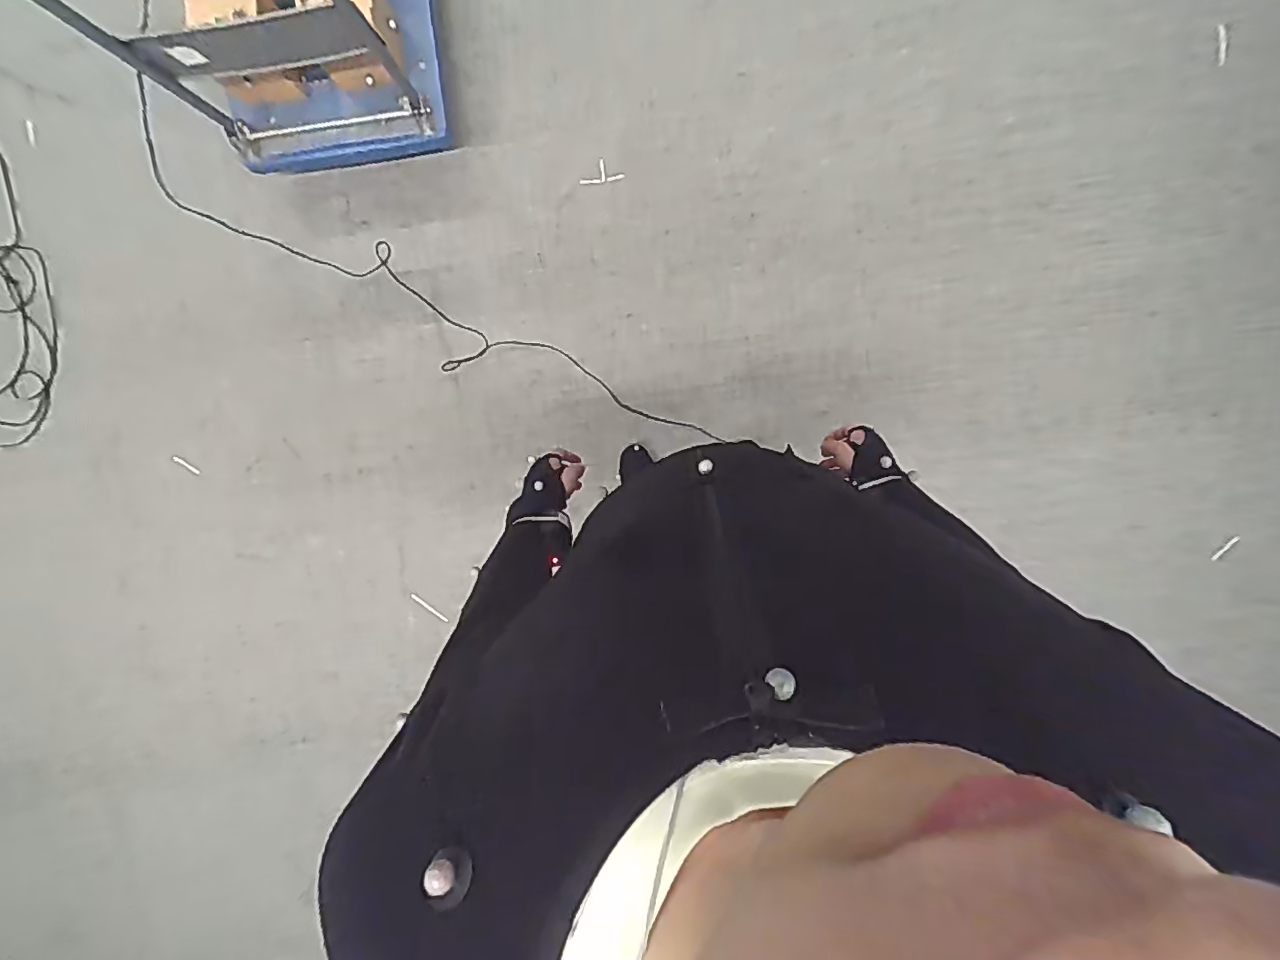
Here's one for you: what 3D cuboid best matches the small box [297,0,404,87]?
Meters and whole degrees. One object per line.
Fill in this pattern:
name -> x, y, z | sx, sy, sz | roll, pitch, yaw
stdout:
small box -> -0.694, -1.101, 1.313 | 0.179, 0.176, 0.168 | -9, 95, 2

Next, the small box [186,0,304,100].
small box -> -0.956, -1.072, 1.326 | 0.179, 0.176, 0.168 | -4, 94, 3
